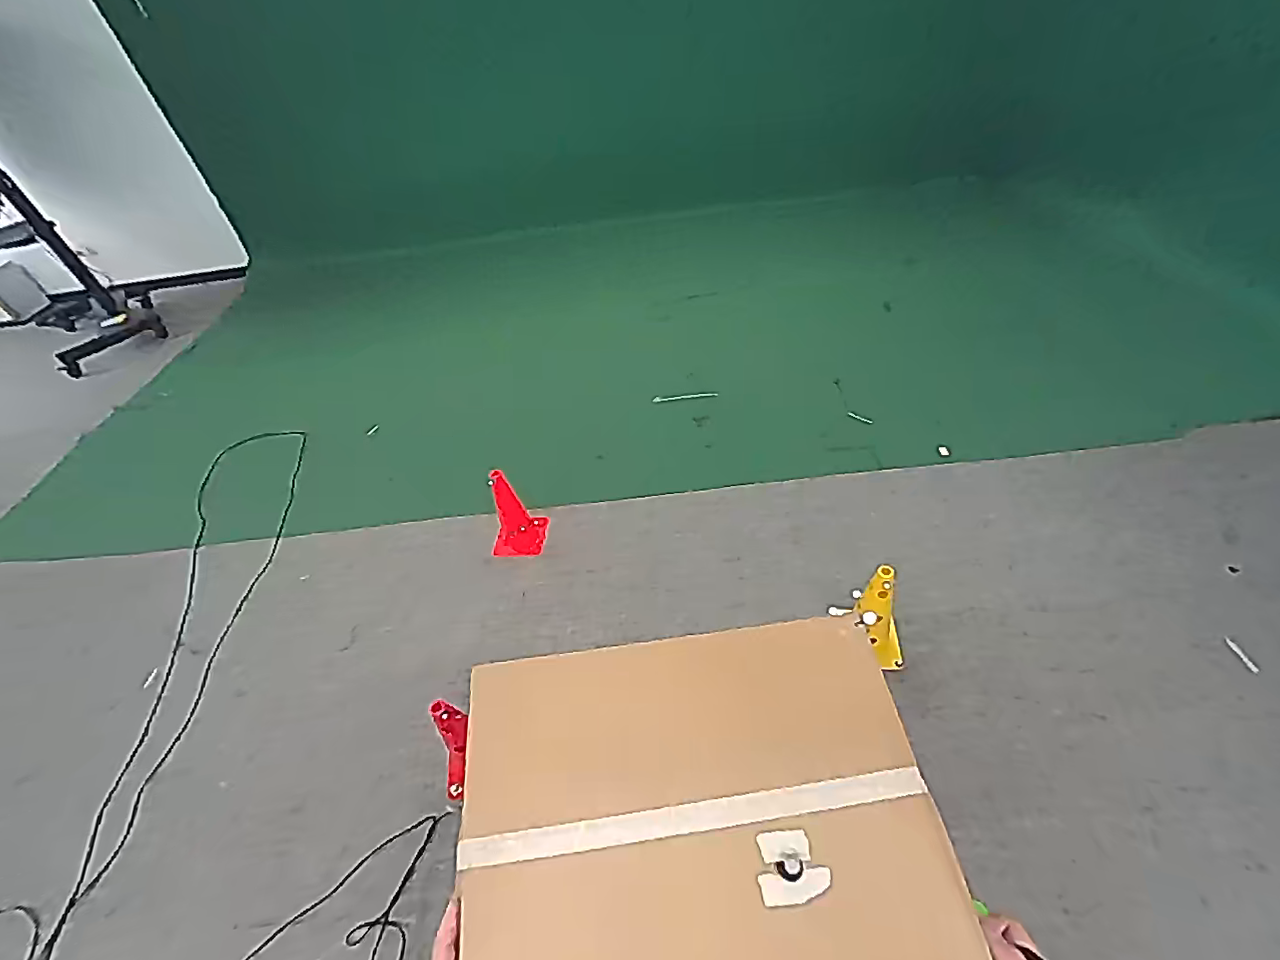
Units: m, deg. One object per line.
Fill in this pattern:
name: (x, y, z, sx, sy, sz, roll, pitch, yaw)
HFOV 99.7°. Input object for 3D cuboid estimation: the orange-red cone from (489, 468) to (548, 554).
orange-red cone: (-0.503, 0.097, 2.049, 0.199, 0.360, 0.198, -2, 44, 9)

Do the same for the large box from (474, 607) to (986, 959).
large box: (0.054, 0.372, 0.605, 0.408, 0.320, 0.320, -7, 56, -4)
